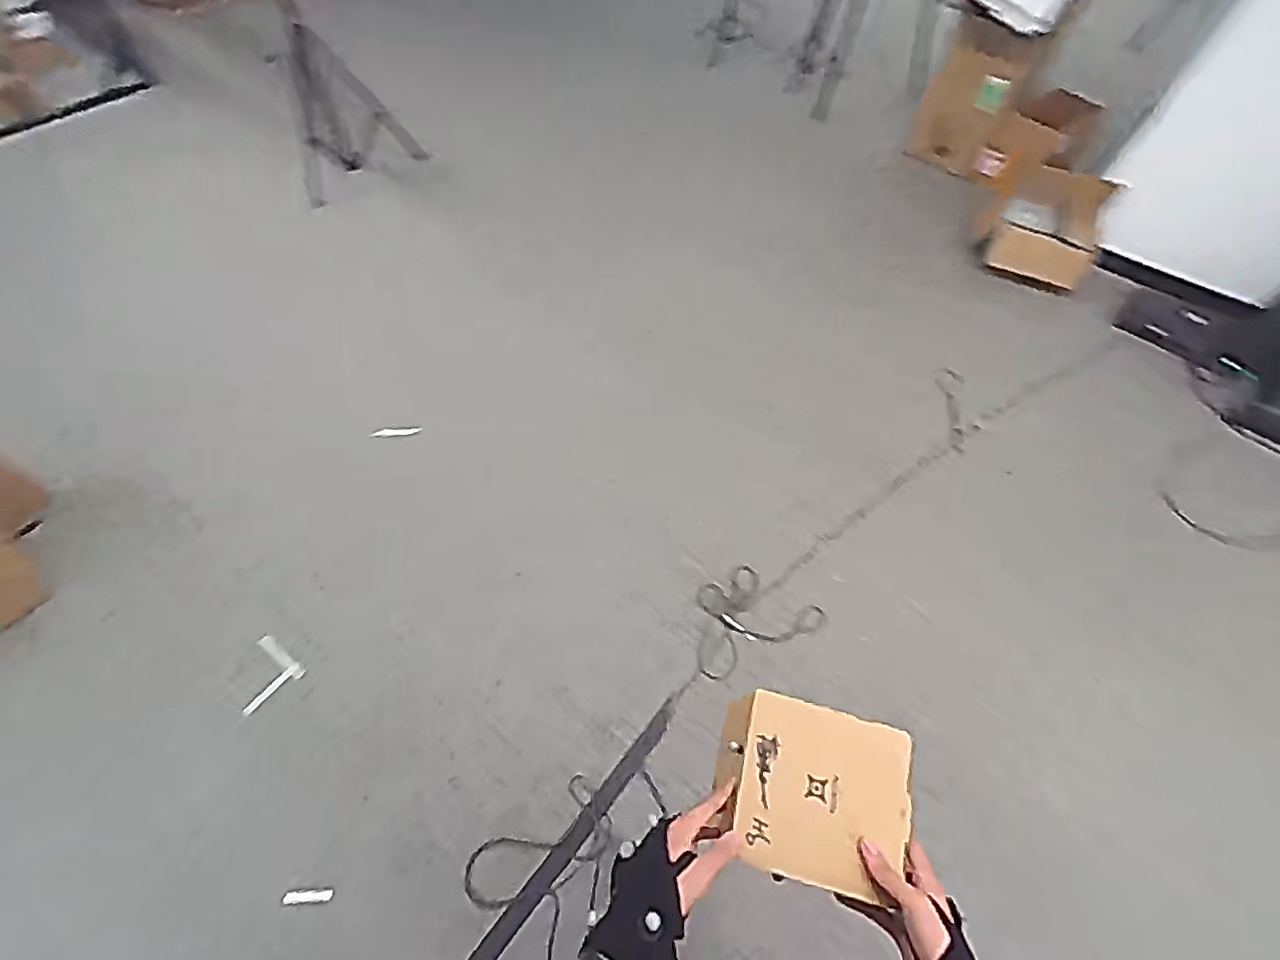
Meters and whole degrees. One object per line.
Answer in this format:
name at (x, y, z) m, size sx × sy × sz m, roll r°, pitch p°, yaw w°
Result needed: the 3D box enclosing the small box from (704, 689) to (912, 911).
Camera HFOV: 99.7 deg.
small box at (0.186, 0.357, 0.628) m, size 0.179 × 0.176 × 0.168 m, roll 15°, pitch 63°, yaw 4°
